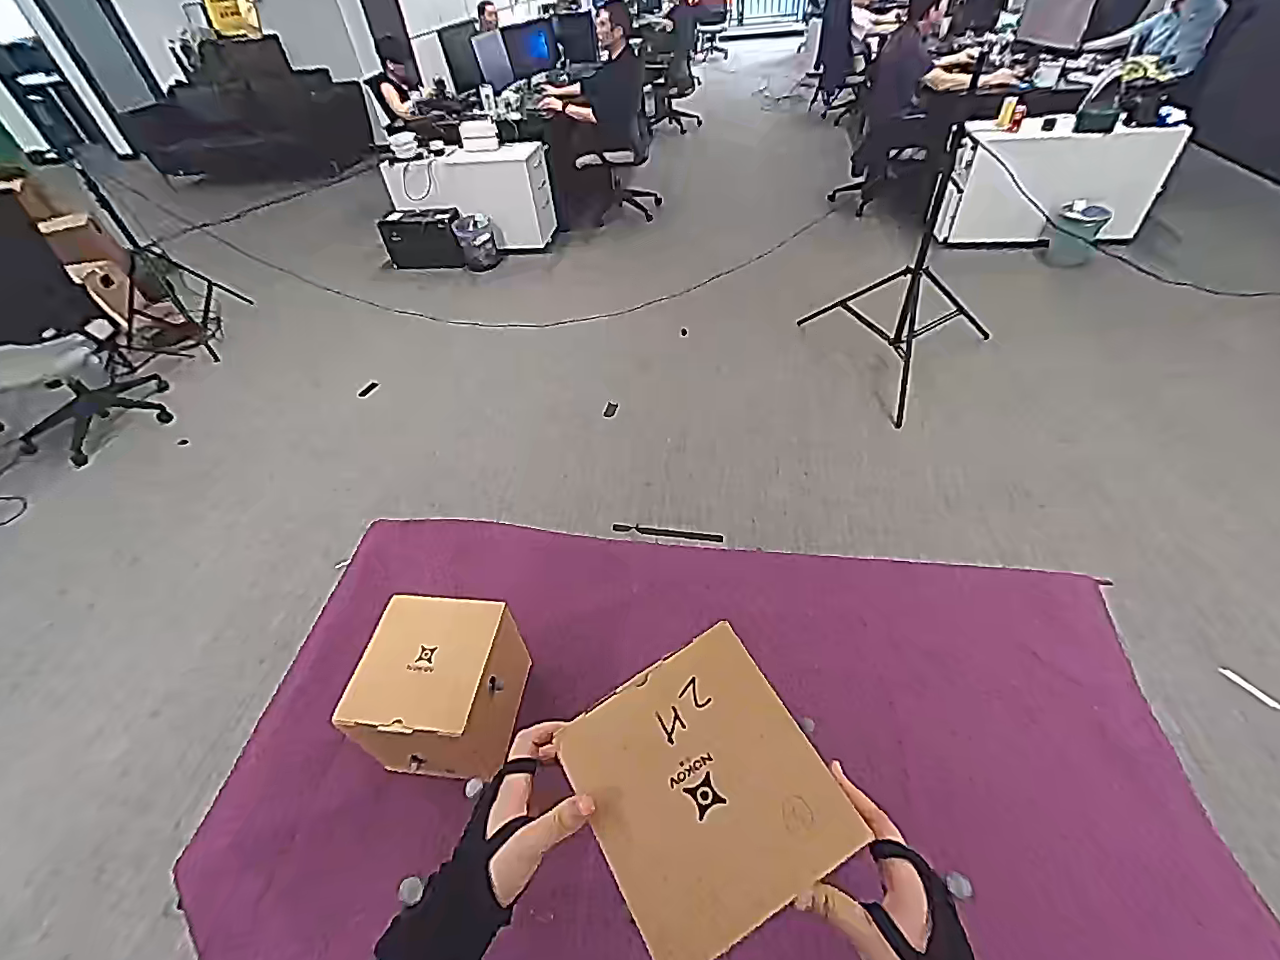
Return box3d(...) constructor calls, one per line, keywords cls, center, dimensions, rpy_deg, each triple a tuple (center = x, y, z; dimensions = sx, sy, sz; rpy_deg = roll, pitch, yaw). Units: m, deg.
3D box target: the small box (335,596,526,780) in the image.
box3d(cls="small box", center=(-0.264, 0.281, 0.735), dimensions=(0.168, 0.176, 0.179), rpy_deg=(2, 46, 7))
